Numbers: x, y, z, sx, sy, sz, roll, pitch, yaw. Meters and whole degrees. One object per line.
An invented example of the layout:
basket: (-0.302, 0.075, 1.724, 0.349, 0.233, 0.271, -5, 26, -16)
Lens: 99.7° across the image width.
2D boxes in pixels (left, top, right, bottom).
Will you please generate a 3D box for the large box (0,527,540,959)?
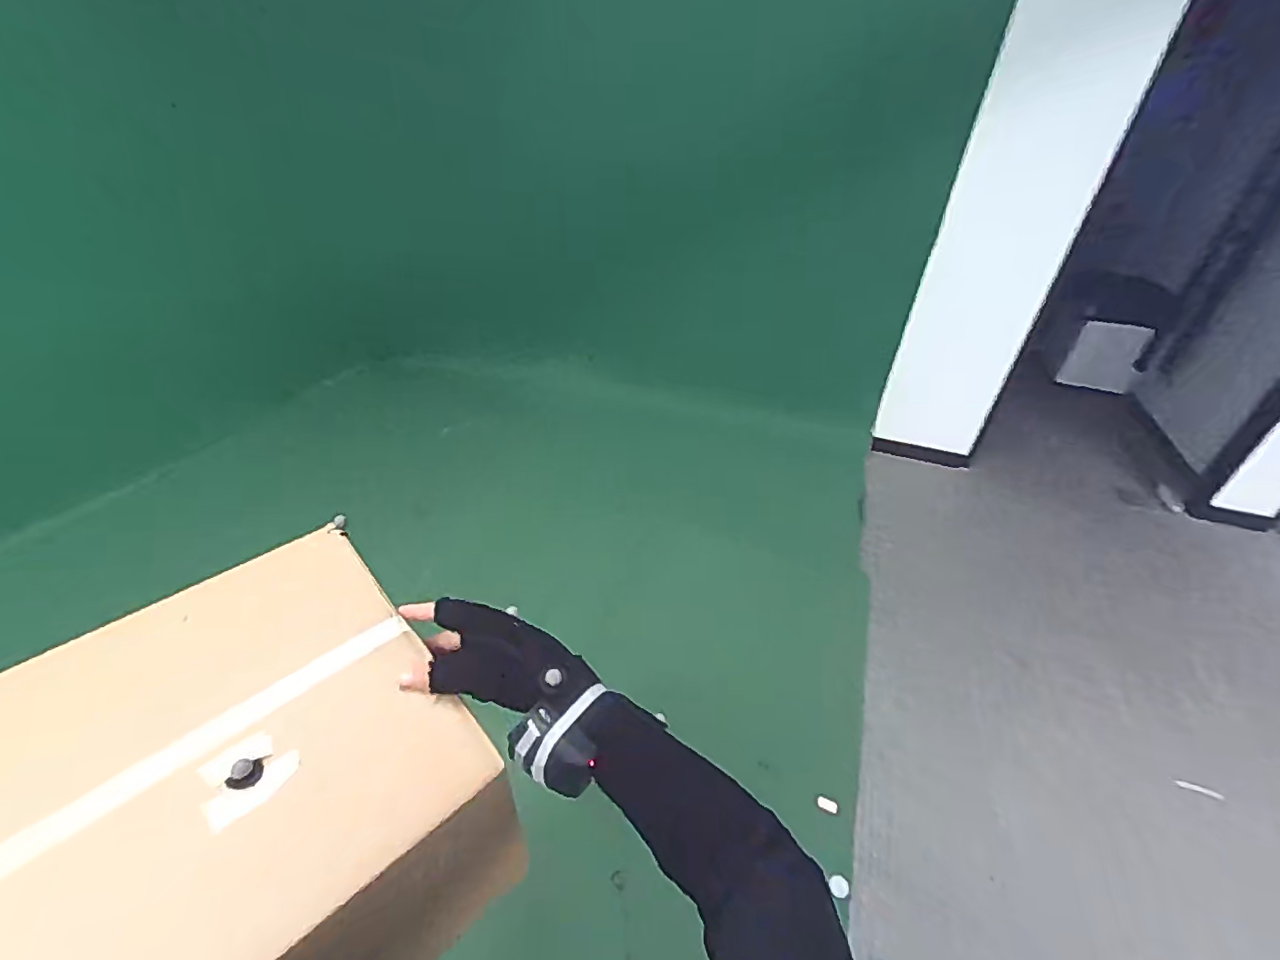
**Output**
large box: (-0.348, 0.323, 0.489, 0.408, 0.320, 0.320, -30, 54, -32)
